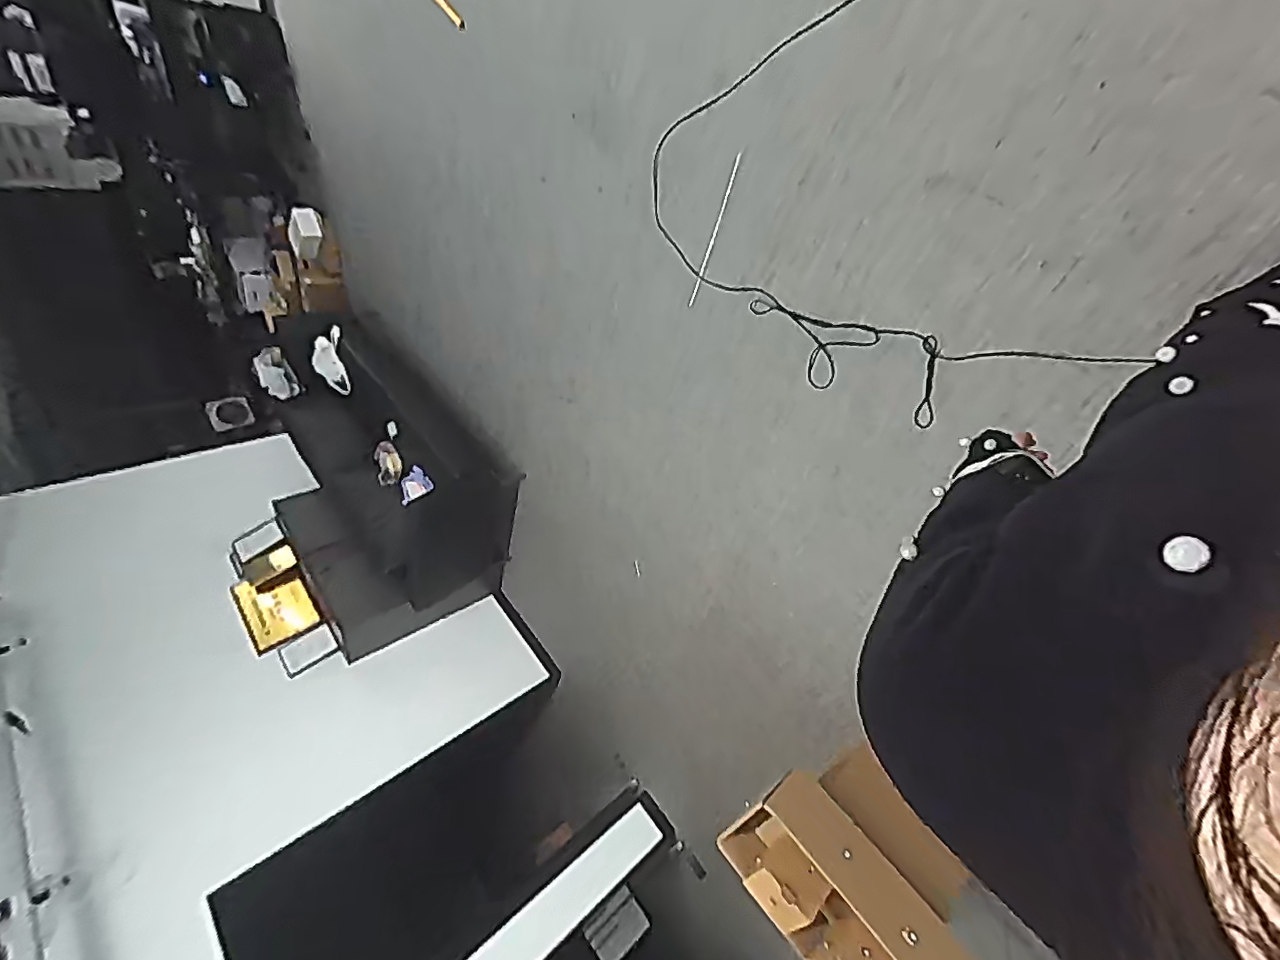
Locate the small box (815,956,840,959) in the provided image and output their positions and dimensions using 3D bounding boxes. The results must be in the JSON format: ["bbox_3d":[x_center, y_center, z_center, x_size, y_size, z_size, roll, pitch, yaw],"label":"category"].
[{"bbox_3d":[0.483,1.385,1.395,0.168,0.176,0.179,45,137,27],"label":"small box"}]

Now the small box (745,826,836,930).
[{"bbox_3d":[0.449,1.177,1.604,0.168,0.176,0.179,44,136,26],"label":"small box"}]
